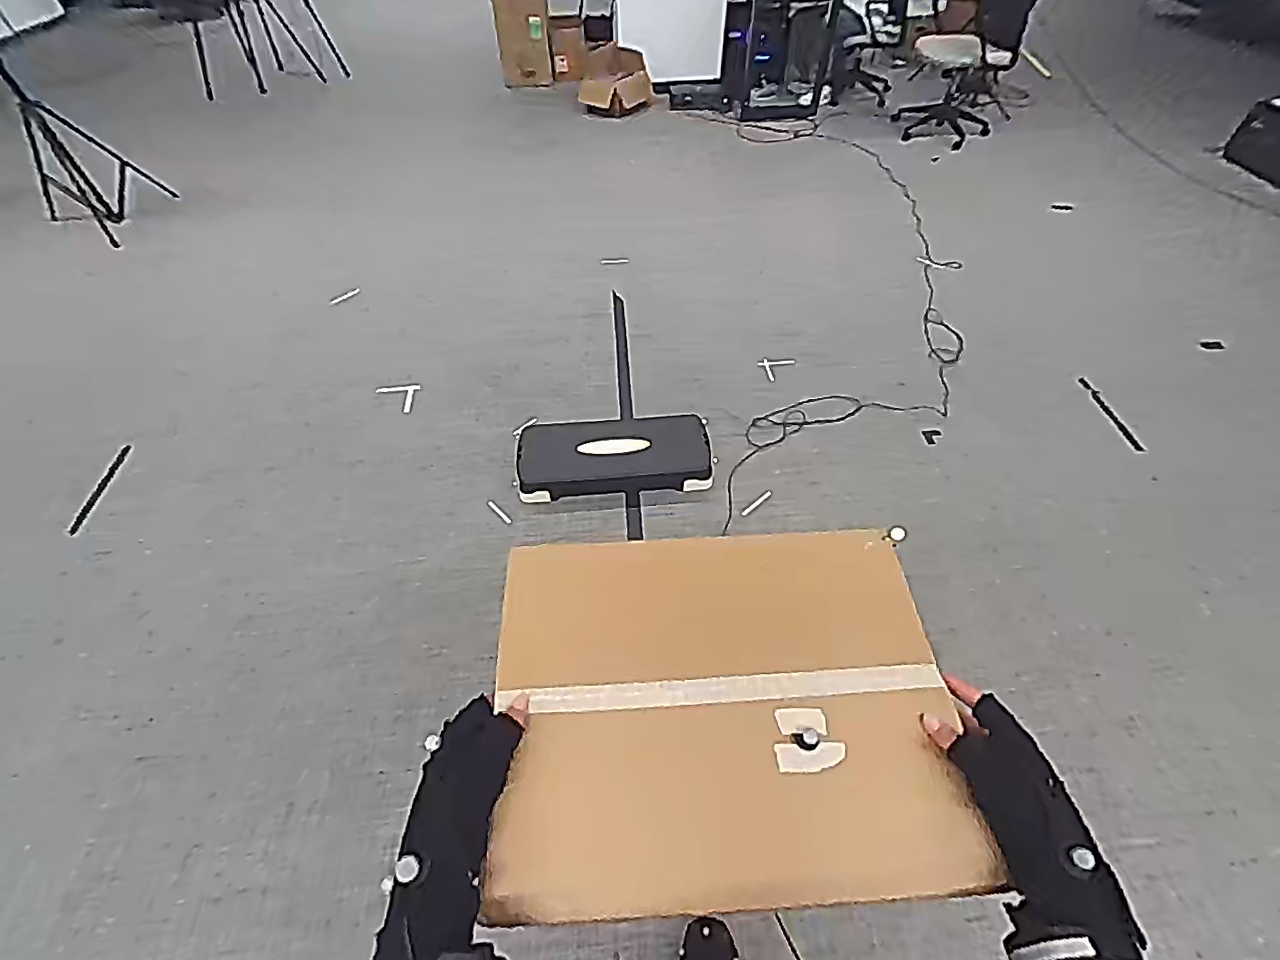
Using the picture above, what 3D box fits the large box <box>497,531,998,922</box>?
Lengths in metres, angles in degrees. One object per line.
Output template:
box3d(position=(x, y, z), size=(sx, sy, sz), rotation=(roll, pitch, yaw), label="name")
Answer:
box3d(position=(0.074, 0.279, 0.622), size=(0.408, 0.320, 0.320), rotation=(-3, 56, -2), label="large box")
